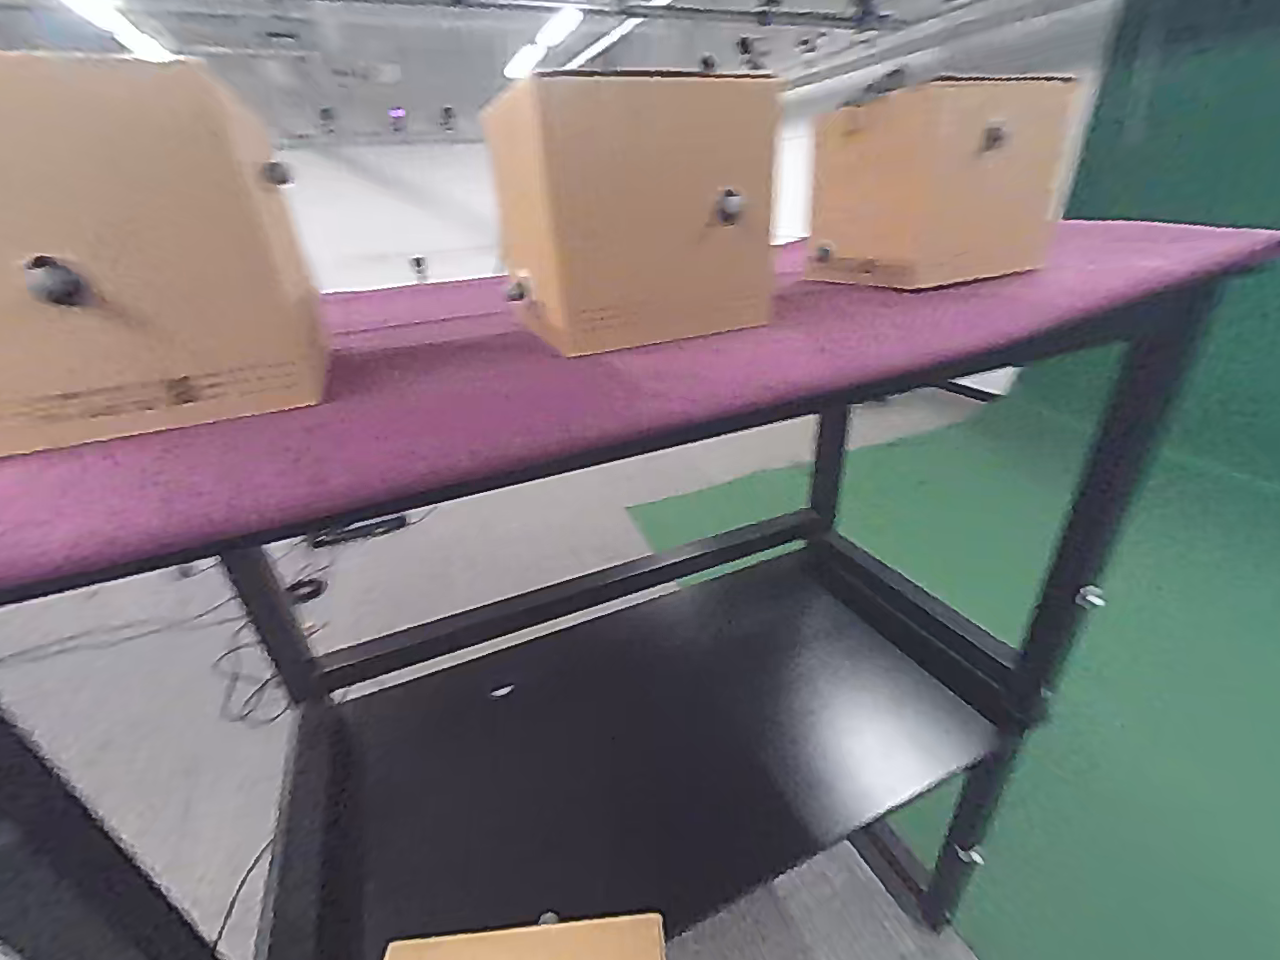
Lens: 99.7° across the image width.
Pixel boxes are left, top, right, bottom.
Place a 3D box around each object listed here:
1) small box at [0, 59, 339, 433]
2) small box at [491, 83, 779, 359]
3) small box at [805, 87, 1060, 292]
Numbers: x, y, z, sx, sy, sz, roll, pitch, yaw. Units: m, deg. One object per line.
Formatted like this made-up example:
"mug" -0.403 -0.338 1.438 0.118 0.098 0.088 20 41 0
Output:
"small box" -0.298 -0.136 0.331 0.168 0.176 0.179 -13 29 -22
"small box" -0.009 -0.210 0.449 0.179 0.176 0.168 -16 29 -21
"small box" 0.298 -0.303 0.587 0.179 0.176 0.168 -13 27 -19
